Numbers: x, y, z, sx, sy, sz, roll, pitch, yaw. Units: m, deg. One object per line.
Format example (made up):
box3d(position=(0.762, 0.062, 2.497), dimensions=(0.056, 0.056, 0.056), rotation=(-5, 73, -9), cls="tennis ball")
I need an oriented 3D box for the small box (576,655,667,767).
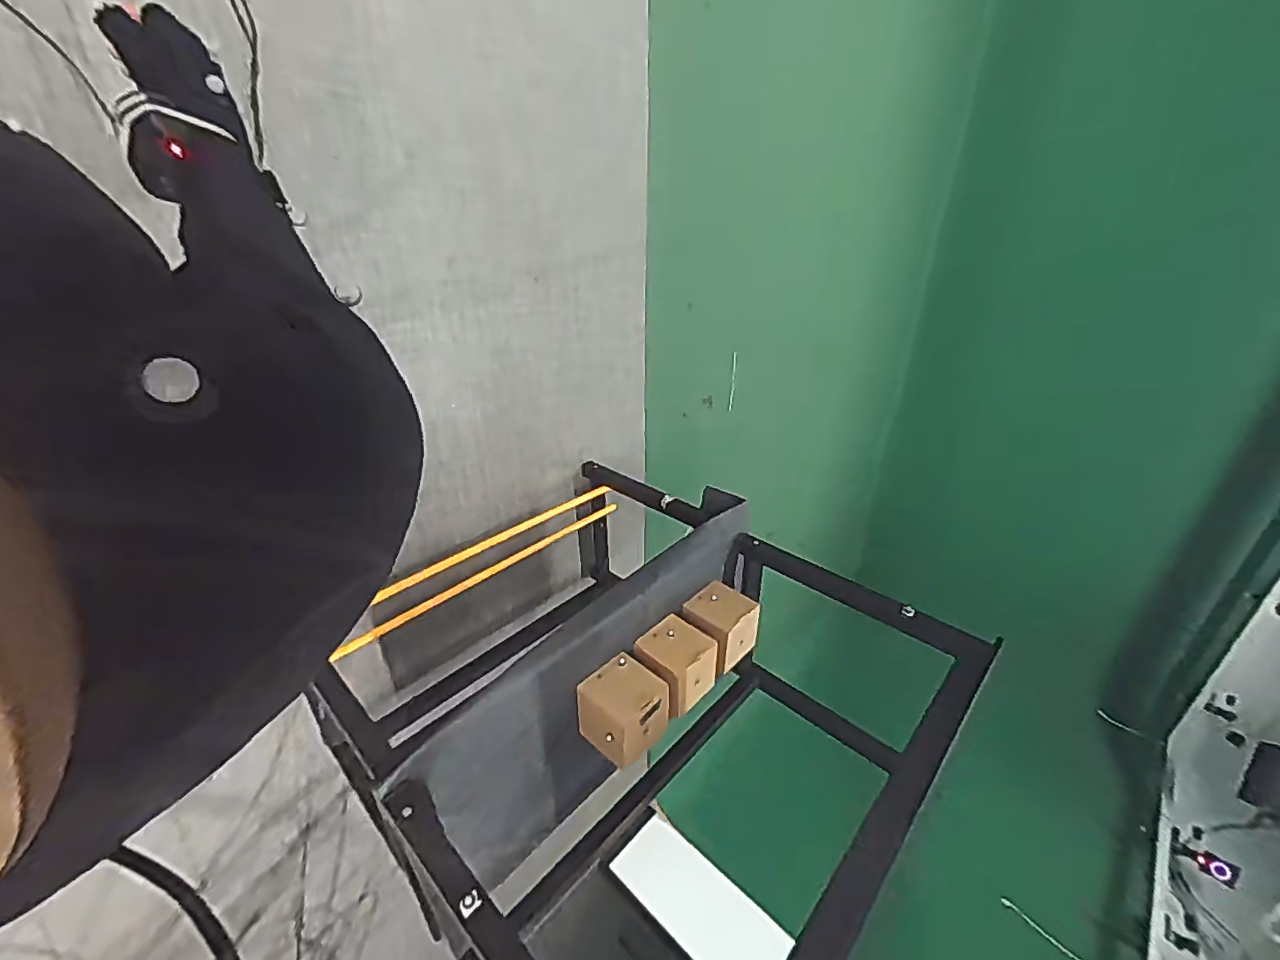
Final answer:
box3d(position=(-0.050, 0.575, 1.379), dimensions=(0.168, 0.176, 0.179), rotation=(-26, 129, -40), cls="small box")
